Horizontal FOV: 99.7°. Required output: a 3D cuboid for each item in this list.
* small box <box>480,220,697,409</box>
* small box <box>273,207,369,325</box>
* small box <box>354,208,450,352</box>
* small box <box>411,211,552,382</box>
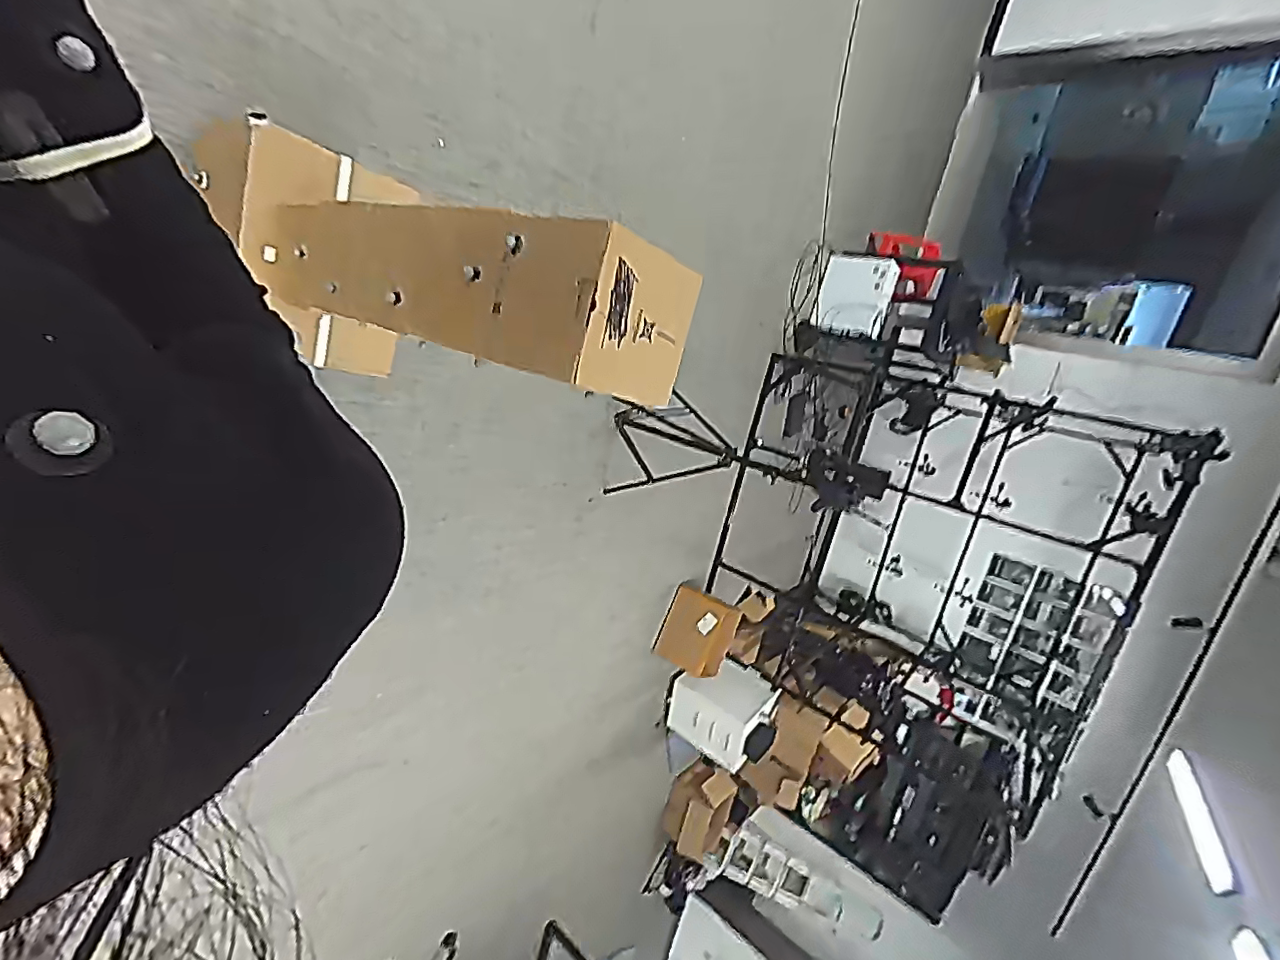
[{"bbox_3d":[-0.063,-0.194,0.650,0.179,0.176,0.168,3,105,-54],"label":"small box"},{"bbox_3d":[-0.566,-0.396,1.017,0.168,0.176,0.179,-3,111,-52],"label":"small box"},{"bbox_3d":[-0.313,-0.297,0.833,0.168,0.176,0.179,3,106,-54],"label":"small box"},{"bbox_3d":[-0.189,-0.247,0.742,0.168,0.176,0.179,4,105,-53],"label":"small box"}]
